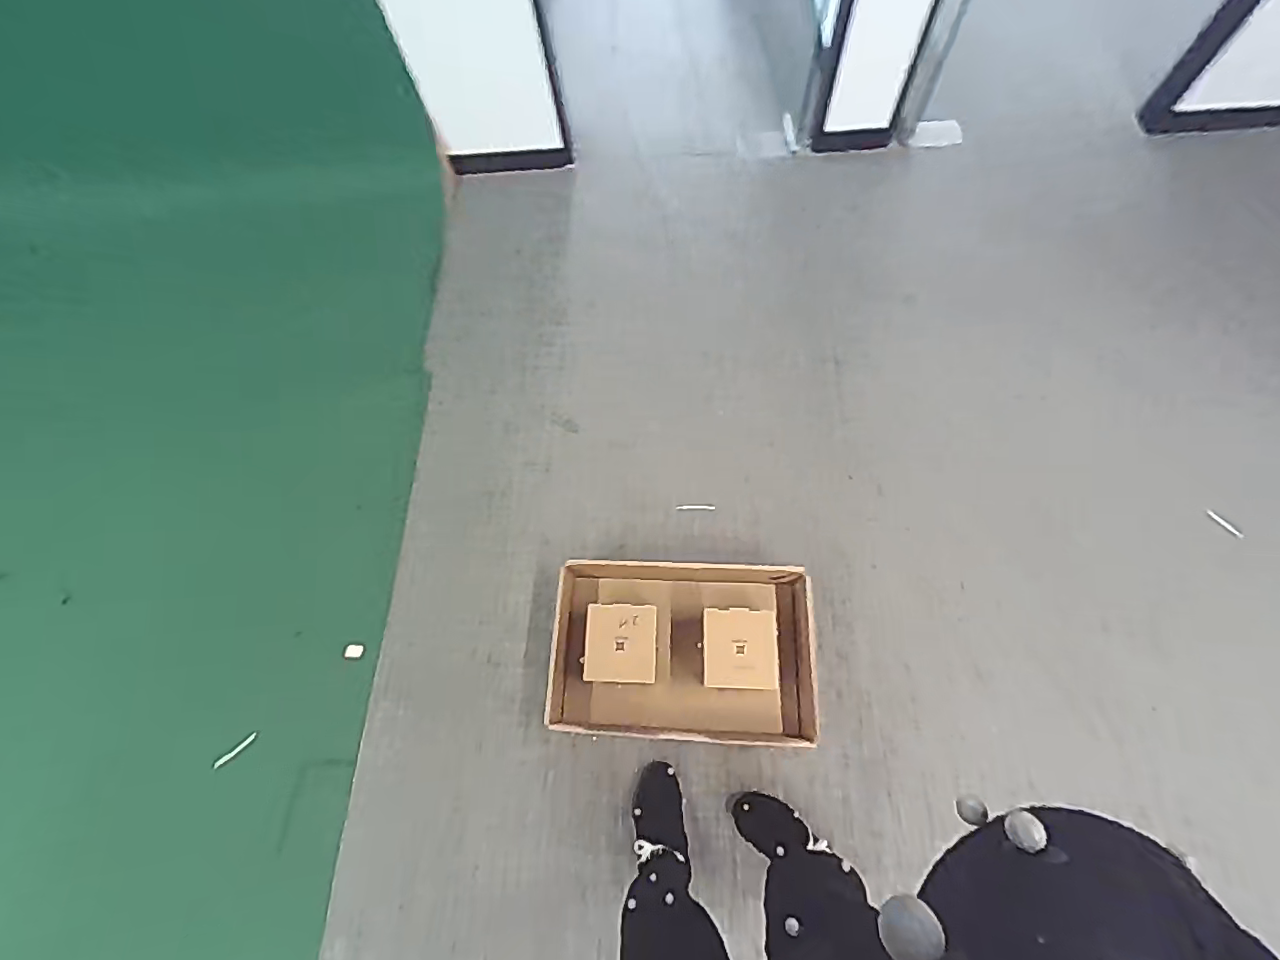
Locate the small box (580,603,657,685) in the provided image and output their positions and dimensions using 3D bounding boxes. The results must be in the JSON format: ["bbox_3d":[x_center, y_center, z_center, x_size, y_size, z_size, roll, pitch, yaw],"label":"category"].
[{"bbox_3d":[-0.045,0.405,1.324,0.168,0.176,0.179,2,68,4],"label":"small box"}]

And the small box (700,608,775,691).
[{"bbox_3d":[0.229,0.411,1.303,0.168,0.176,0.179,1,69,6],"label":"small box"}]
